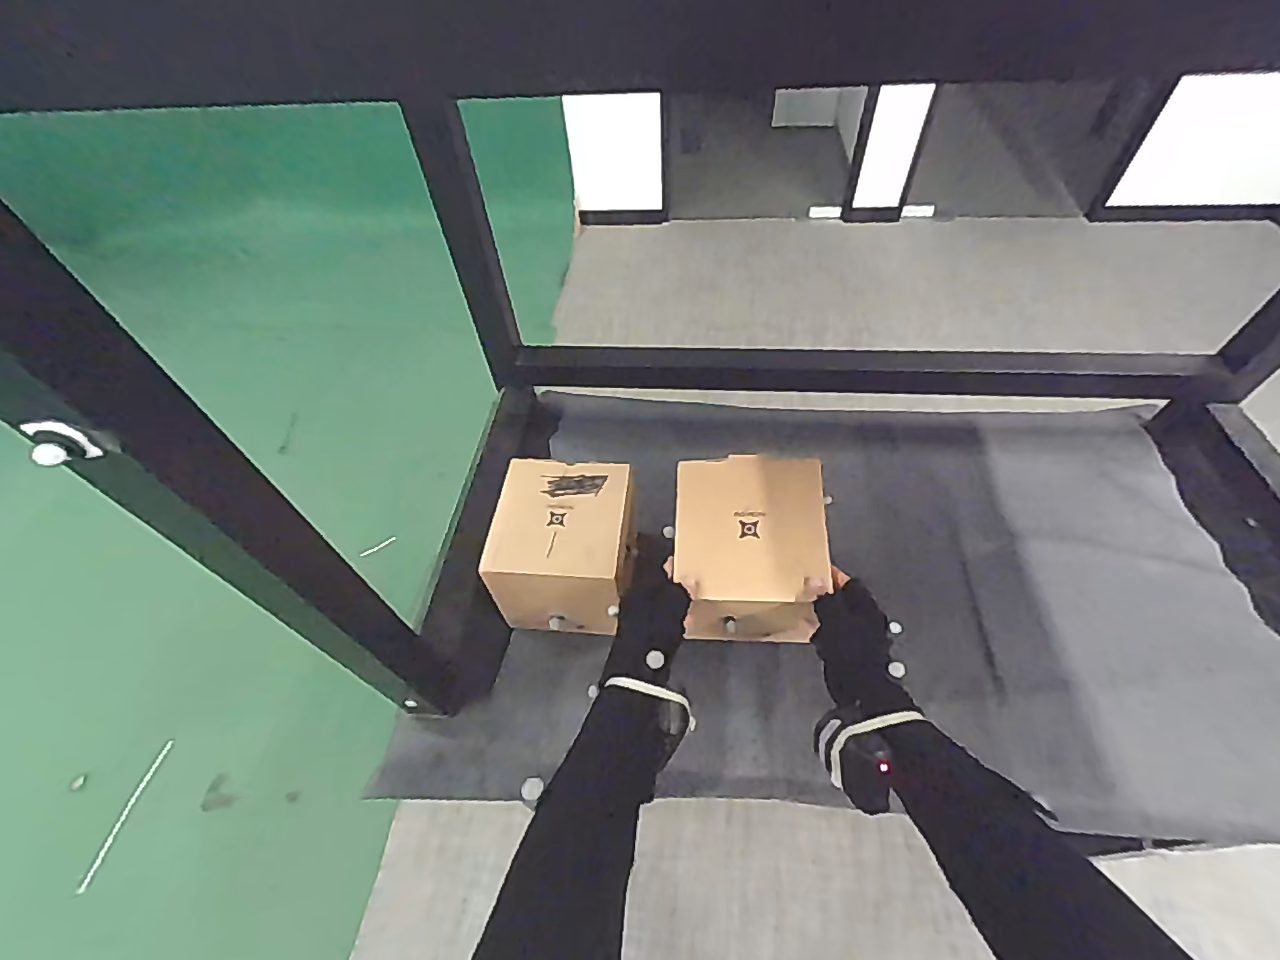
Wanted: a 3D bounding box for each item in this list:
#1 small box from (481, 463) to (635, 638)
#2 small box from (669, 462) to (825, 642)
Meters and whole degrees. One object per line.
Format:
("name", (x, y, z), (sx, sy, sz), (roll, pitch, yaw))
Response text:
("small box", (-0.098, 0.098, 0.749), (0.168, 0.176, 0.179), (3, 52, 6))
("small box", (0.130, 0.095, 0.675), (0.168, 0.176, 0.179), (-1, 58, 9))
